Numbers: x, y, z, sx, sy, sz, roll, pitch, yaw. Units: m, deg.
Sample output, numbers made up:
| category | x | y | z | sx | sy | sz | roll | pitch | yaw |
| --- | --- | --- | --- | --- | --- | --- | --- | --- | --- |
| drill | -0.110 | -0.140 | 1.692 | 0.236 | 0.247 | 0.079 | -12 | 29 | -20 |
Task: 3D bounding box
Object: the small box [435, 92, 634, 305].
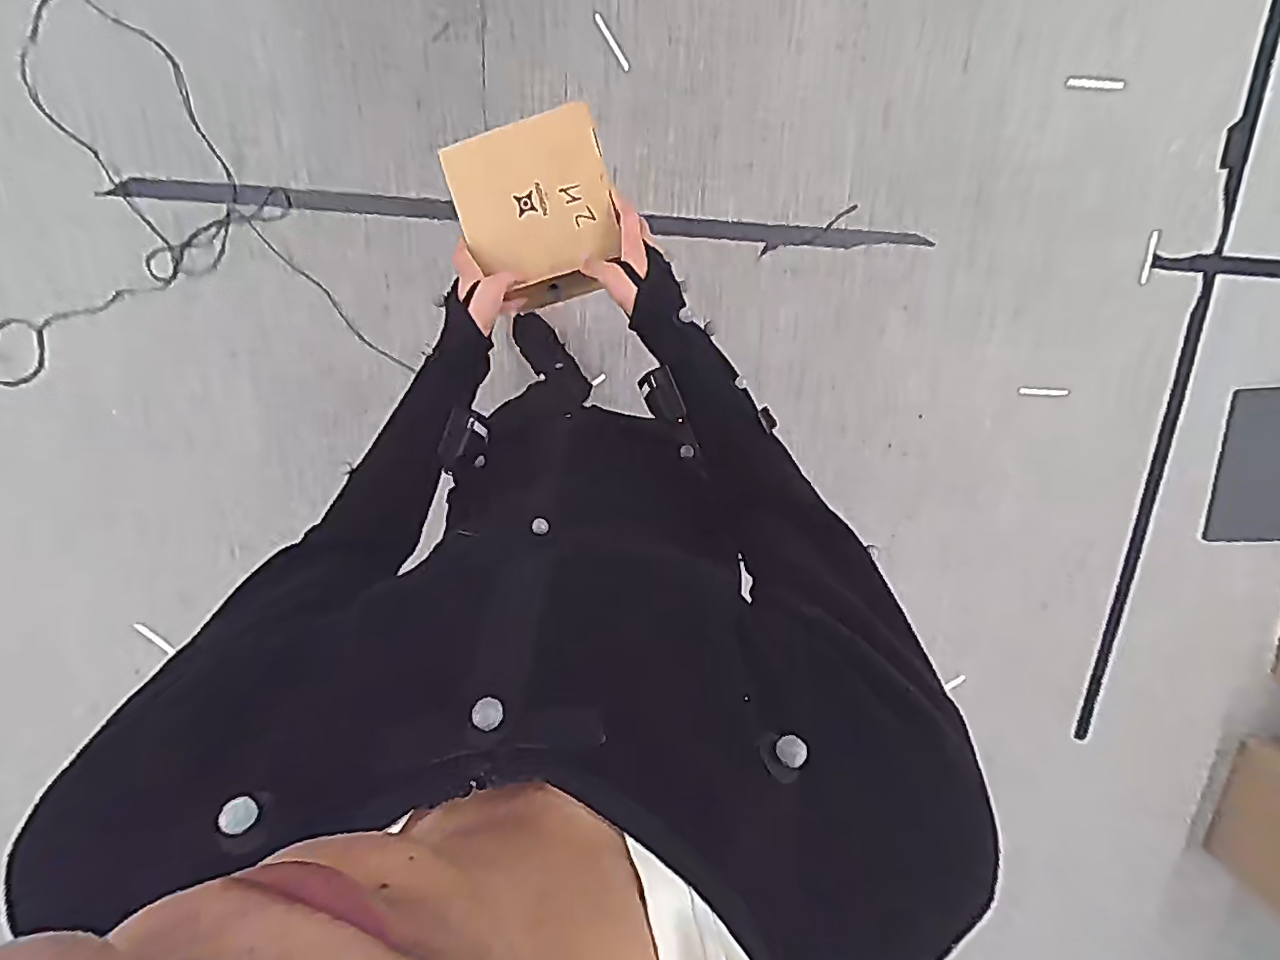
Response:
| category | x | y | z | sx | sy | sz | roll | pitch | yaw |
| --- | --- | --- | --- | --- | --- | --- | --- | --- | --- |
| small box | -0.114 | -0.324 | 0.665 | 0.179 | 0.176 | 0.168 | -14 | 101 | 6 |
